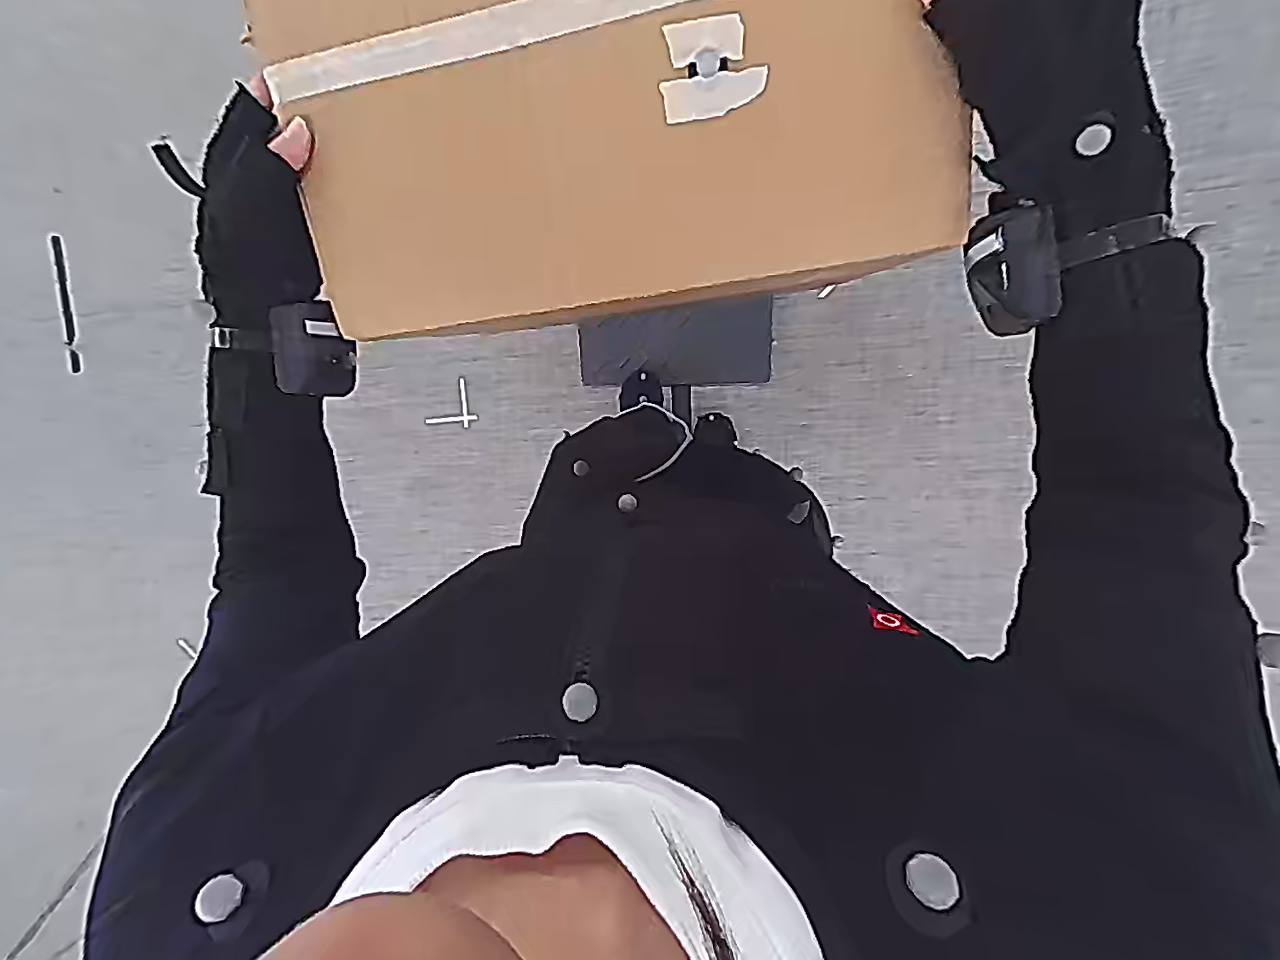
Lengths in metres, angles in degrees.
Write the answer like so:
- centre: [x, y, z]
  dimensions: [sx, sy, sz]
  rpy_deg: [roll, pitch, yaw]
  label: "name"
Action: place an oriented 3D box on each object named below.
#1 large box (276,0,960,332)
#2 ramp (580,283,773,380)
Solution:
- centre: [-0.009, -0.316, 0.459]
  dimensions: [0.408, 0.320, 0.320]
  rpy_deg: [-6, 106, 9]
  label: "large box"
- centre: [0.073, -0.739, 1.255]
  dimensions: [0.509, 0.206, 0.991]
  rpy_deg: [-1, 99, 7]
  label: "ramp"
